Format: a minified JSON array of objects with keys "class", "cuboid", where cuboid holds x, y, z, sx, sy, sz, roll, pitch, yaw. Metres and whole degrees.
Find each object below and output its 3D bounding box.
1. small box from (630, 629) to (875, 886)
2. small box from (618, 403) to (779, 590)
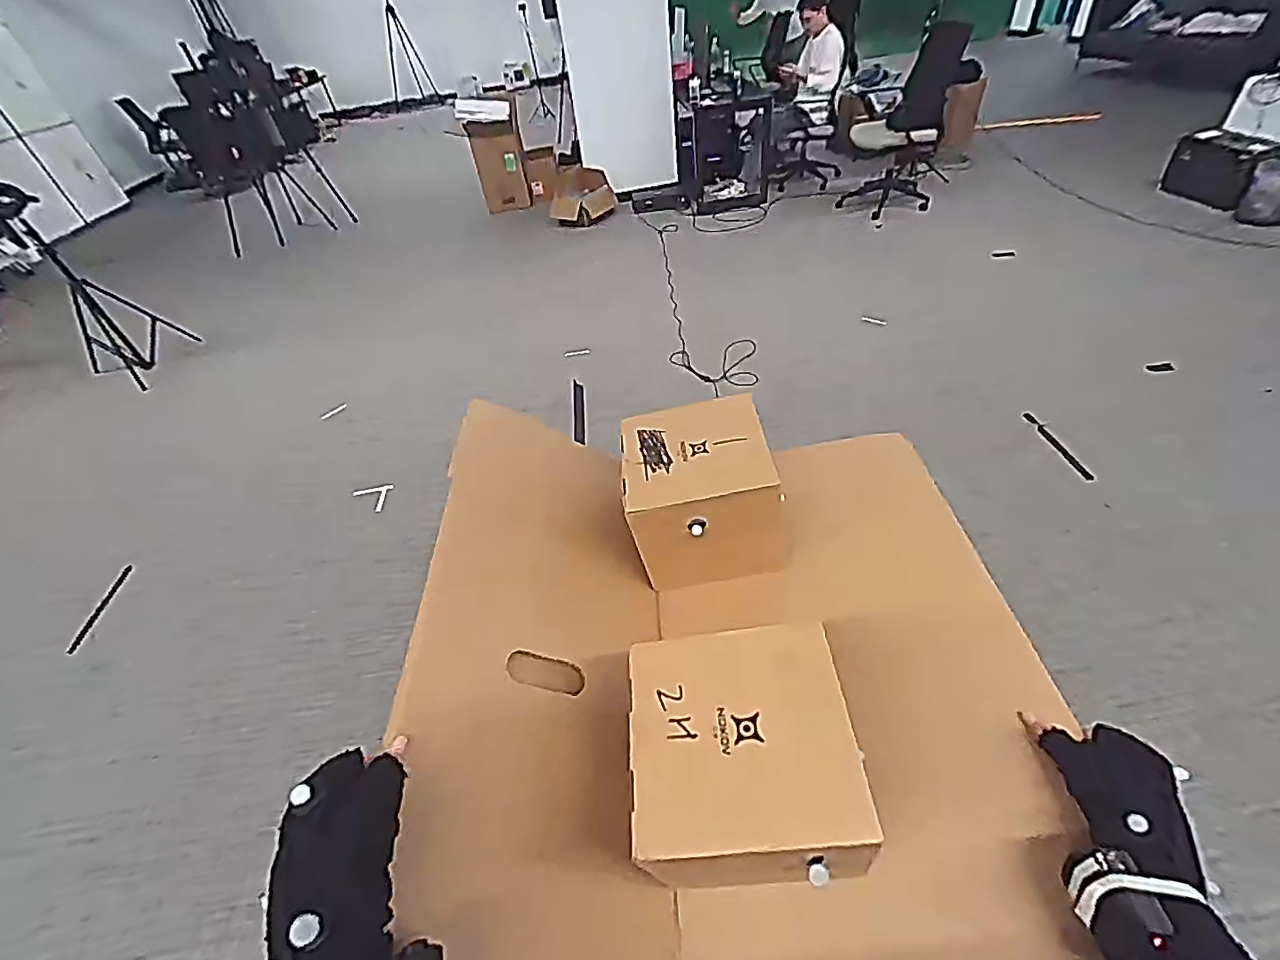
[{"class":"small box","cuboid":[0.094,0.257,0.494,0.179,0.176,0.168,-10,45,9]},{"class":"small box","cuboid":[0.077,0.027,0.716,0.179,0.176,0.168,-12,46,6]}]
